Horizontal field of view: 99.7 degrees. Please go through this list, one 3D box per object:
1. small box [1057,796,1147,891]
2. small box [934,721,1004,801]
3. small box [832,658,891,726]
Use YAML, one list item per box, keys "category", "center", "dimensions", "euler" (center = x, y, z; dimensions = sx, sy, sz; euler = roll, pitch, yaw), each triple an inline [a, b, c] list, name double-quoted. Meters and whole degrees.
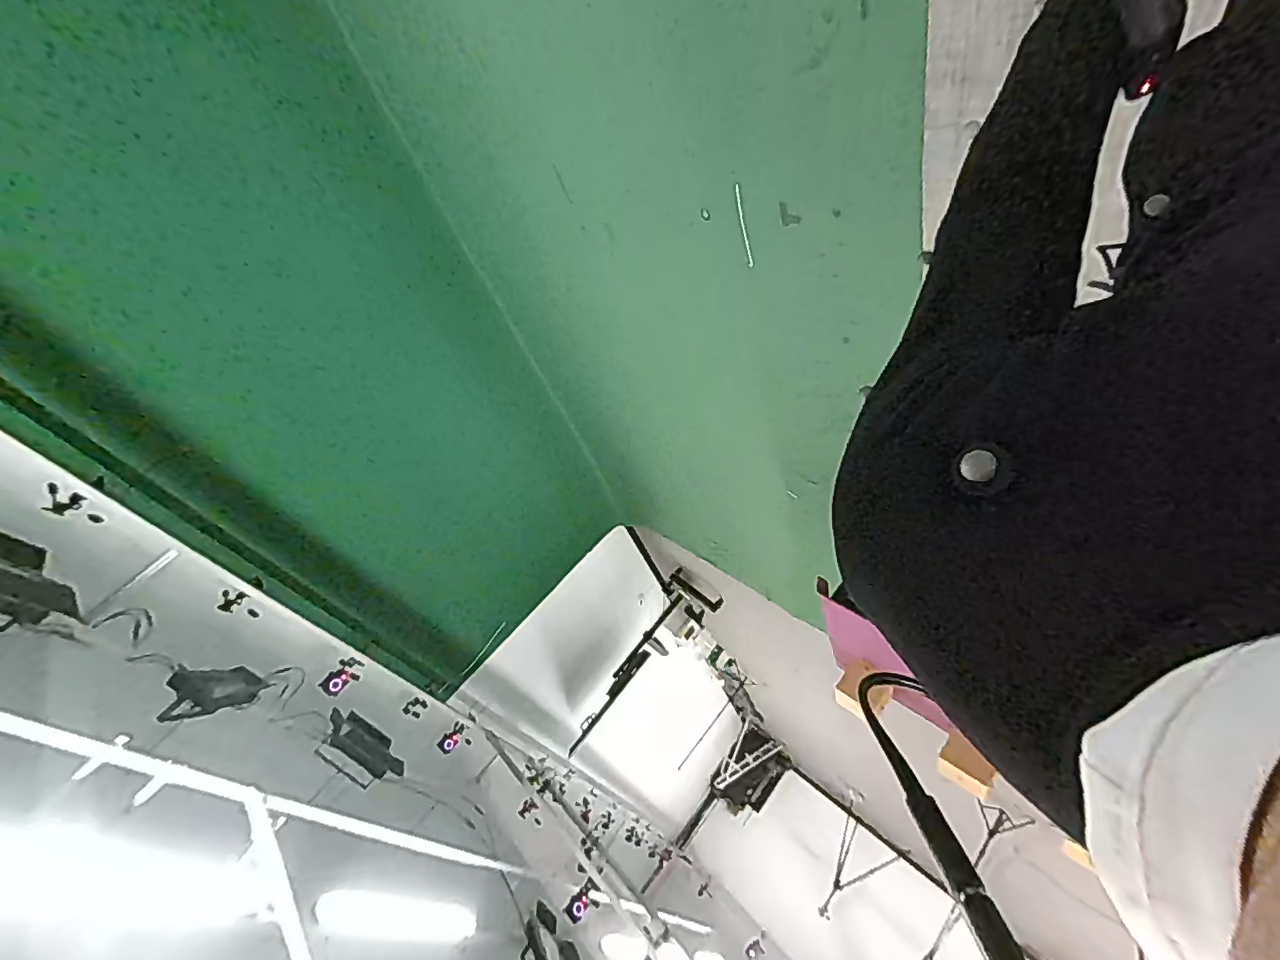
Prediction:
- category: "small box"
  center: [1.450, 1.136, 1.698]
  dimensions: [0.168, 0.176, 0.179]
  euler: [25, 153, 45]
- category: "small box"
  center: [1.200, 1.024, 1.974]
  dimensions: [0.168, 0.176, 0.179]
  euler: [25, 152, 41]
- category: "small box"
  center: [0.915, 0.872, 2.229]
  dimensions: [0.168, 0.176, 0.179]
  euler: [27, 155, 38]
